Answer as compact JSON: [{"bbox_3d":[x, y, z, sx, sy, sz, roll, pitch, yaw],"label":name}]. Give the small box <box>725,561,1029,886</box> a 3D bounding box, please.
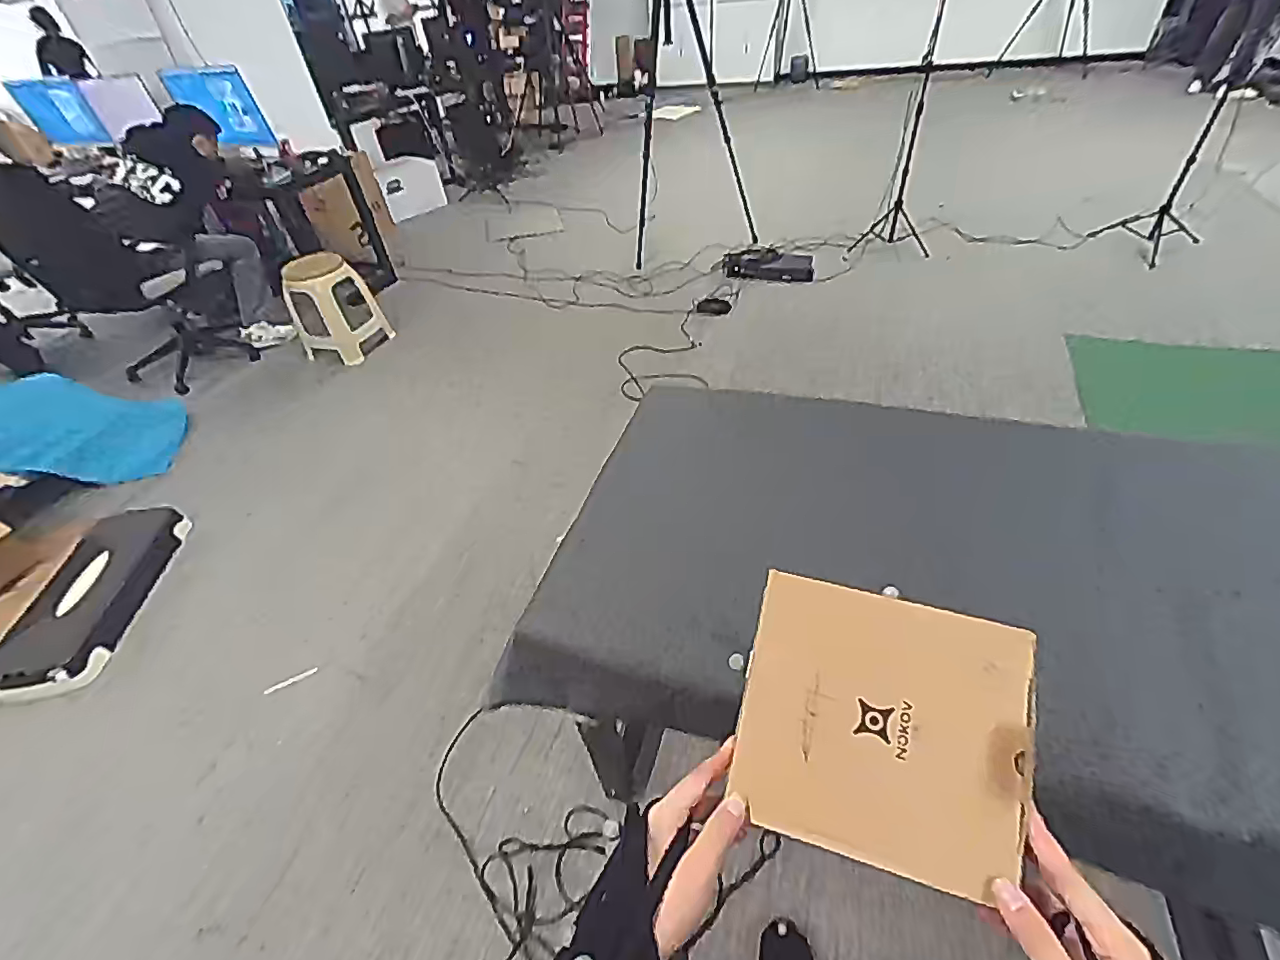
[{"bbox_3d":[0.173,0.177,0.436,0.179,0.176,0.168,11,72,15],"label":"small box"}]
